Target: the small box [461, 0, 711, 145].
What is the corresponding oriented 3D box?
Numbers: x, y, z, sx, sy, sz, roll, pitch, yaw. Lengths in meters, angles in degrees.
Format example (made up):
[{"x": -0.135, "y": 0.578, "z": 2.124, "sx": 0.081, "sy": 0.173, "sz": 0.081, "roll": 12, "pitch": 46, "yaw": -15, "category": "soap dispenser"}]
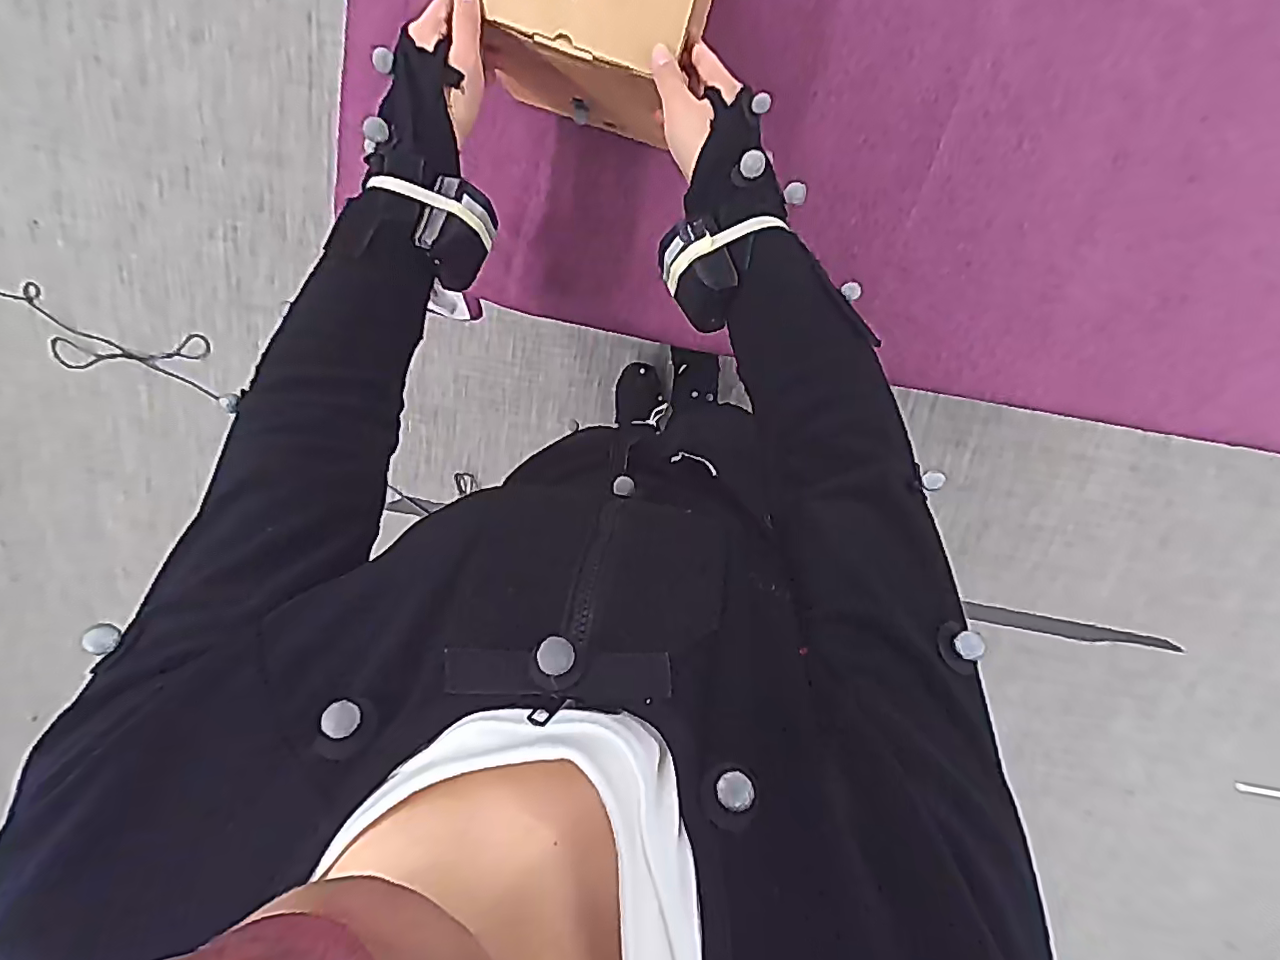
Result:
[{"x": -0.027, "y": -0.416, "z": 0.444, "sx": 0.168, "sy": 0.176, "sz": 0.179, "roll": 17, "pitch": 106, "yaw": -3, "category": "small box"}]
